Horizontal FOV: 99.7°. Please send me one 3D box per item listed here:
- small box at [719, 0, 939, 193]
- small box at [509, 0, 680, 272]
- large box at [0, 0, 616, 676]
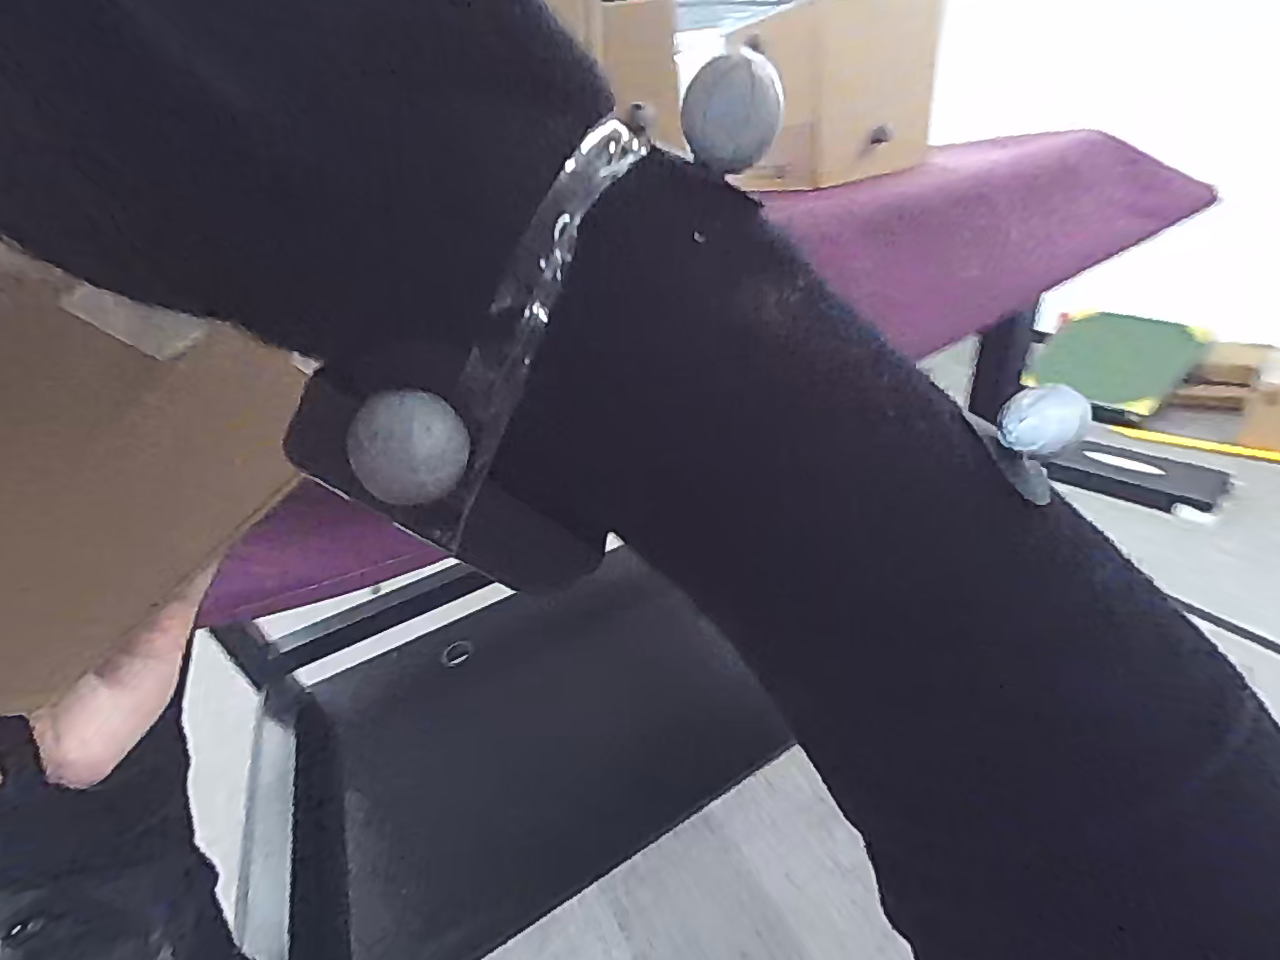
[{"bbox_3d":[0.212,-0.447,0.638,0.179,0.176,0.168,-22,32,-19],"label":"small box"},{"bbox_3d":[-0.074,-0.300,0.487,0.179,0.176,0.168,-20,32,-15],"label":"small box"},{"bbox_3d":[-0.254,-0.203,0.124,0.408,0.320,0.320,35,71,11],"label":"large box"}]
